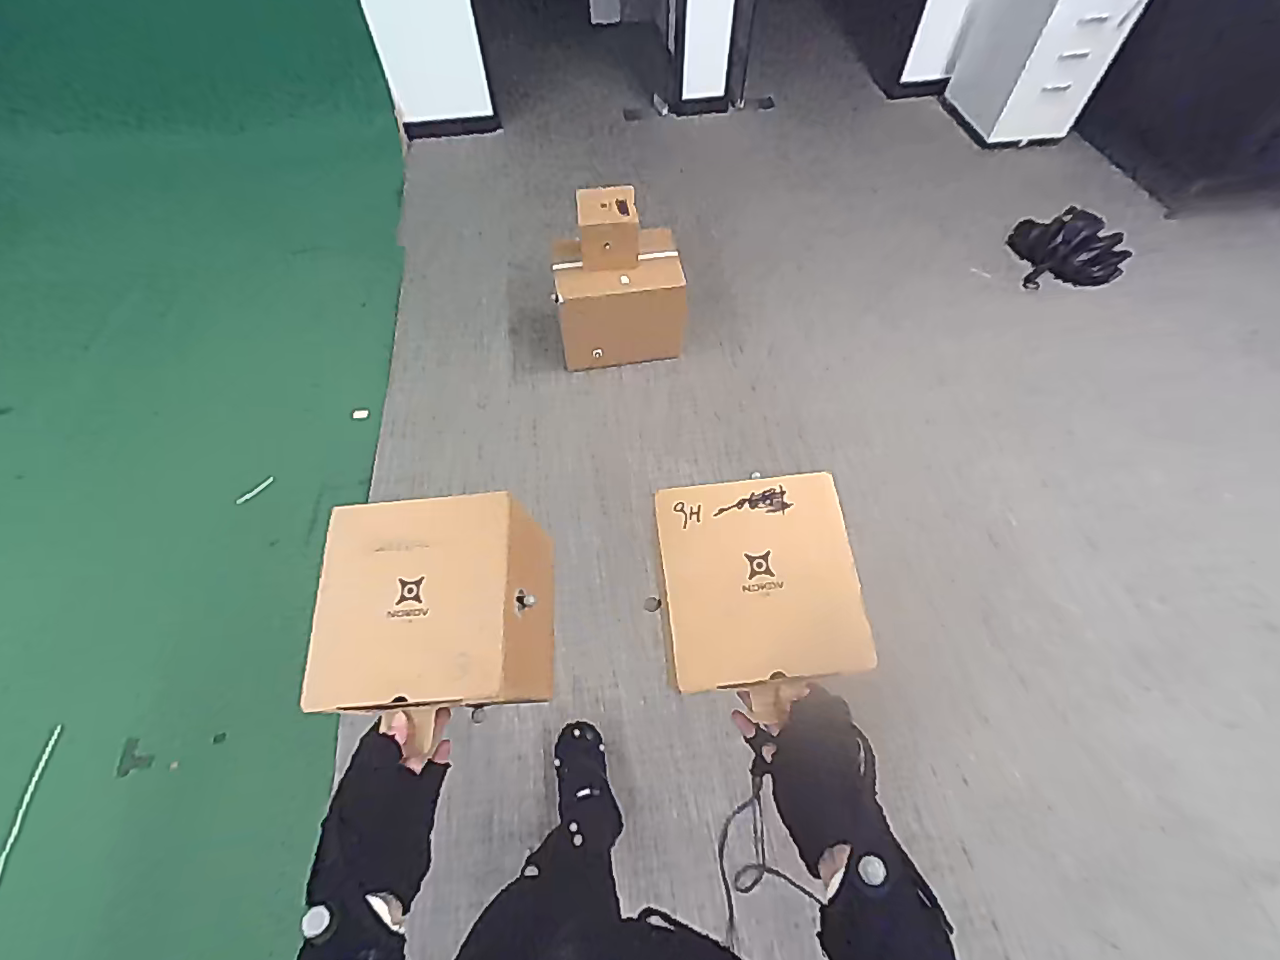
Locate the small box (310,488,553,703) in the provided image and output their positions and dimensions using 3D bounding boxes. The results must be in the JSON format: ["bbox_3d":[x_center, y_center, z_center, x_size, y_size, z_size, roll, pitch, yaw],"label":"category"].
[{"bbox_3d":[-0.185,0.123,0.539,0.168,0.176,0.179,-5,67,3],"label":"small box"}]

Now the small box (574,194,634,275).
[{"bbox_3d":[-0.110,-0.755,1.672,0.179,0.176,0.168,-2,61,-2],"label":"small box"}]
